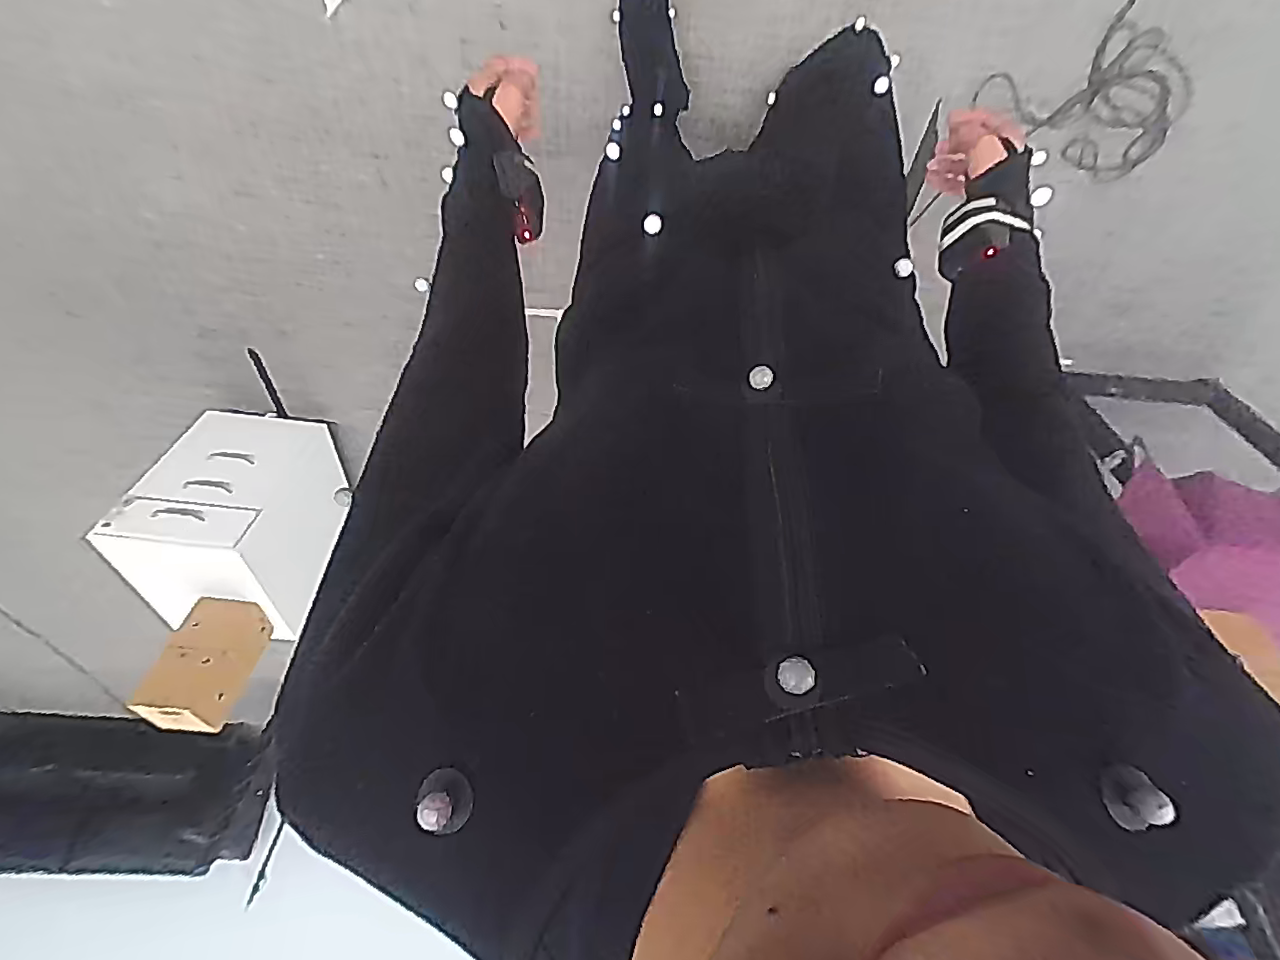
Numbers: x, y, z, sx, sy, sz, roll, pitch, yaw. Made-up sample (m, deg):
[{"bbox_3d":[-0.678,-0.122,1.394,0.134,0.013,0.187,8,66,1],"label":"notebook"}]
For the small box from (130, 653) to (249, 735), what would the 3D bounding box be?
[{"bbox_3d":[-1.279,0.611,1.552,0.168,0.176,0.179,5,137,-1],"label":"small box"}]

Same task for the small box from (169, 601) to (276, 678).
[{"bbox_3d":[-1.273,0.490,1.663,0.179,0.176,0.168,7,135,-5],"label":"small box"}]

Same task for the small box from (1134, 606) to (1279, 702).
[{"bbox_3d":[1.400,0.427,1.331,0.179,0.176,0.168,5,135,-3],"label":"small box"}]
